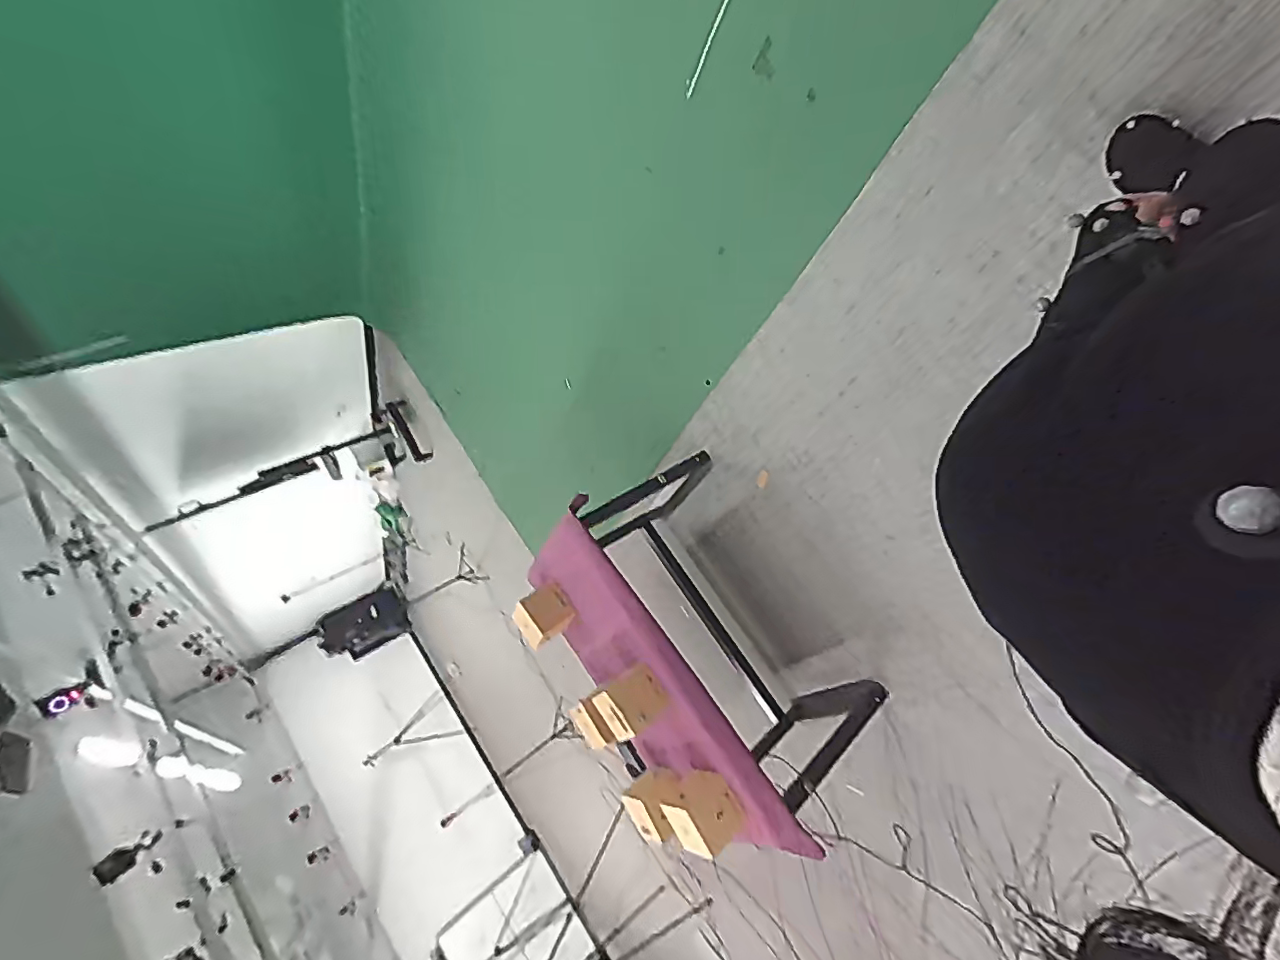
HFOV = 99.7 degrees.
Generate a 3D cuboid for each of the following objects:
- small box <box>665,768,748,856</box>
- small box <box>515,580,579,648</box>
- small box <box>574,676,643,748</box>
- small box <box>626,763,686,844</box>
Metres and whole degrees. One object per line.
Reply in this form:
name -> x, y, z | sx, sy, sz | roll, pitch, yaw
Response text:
small box -> 0.219, 1.046, 1.720 | 0.168, 0.176, 0.179 | 59, 146, 6
small box -> -0.362, 0.521, 2.109 | 0.168, 0.176, 0.179 | 49, 142, 15
small box -> -0.116, 0.870, 2.034 | 0.179, 0.176, 0.168 | 52, 143, 12
small box -> 0.086, 1.176, 1.980 | 0.168, 0.176, 0.179 | -32, 85, 54
